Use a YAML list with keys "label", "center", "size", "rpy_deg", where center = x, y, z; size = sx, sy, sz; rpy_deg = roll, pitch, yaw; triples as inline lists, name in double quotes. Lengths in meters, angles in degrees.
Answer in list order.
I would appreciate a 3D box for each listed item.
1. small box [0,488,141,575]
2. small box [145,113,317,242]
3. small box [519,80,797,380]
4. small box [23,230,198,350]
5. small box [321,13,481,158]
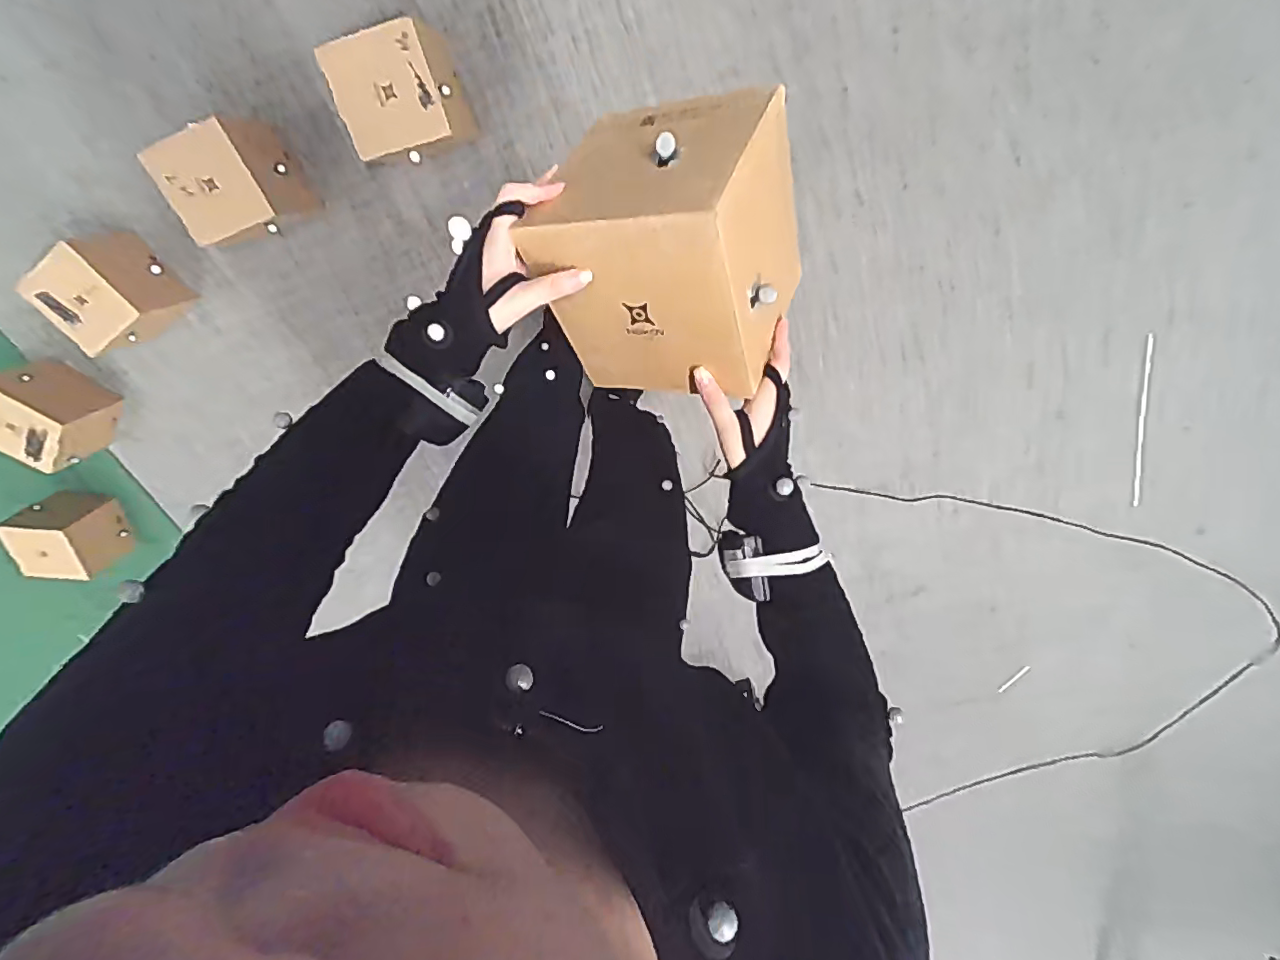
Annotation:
- label: "small box"
  center: [-1.539, 0.135, 1.474]
  size: [0.179, 0.176, 0.168]
  rpy_deg: [5, 120, -1]
- label: "small box"
  center: [-0.762, -0.577, 1.039]
  size: [0.179, 0.176, 0.168]
  rpy_deg: [-16, 118, 10]
- label: "small box"
  center: [0.032, -0.211, 0.470]
  size: [0.168, 0.176, 0.179]
  rpy_deg: [9, 151, 27]
- label: "small box"
  center: [-1.105, -0.406, 1.147]
  size: [0.179, 0.176, 0.168]
  rpy_deg: [-28, 116, 15]
- label: "small box"
  center: [-0.412, -0.688, 0.965]
  size: [0.179, 0.176, 0.168]
  rpy_deg: [-11, 119, 8]
